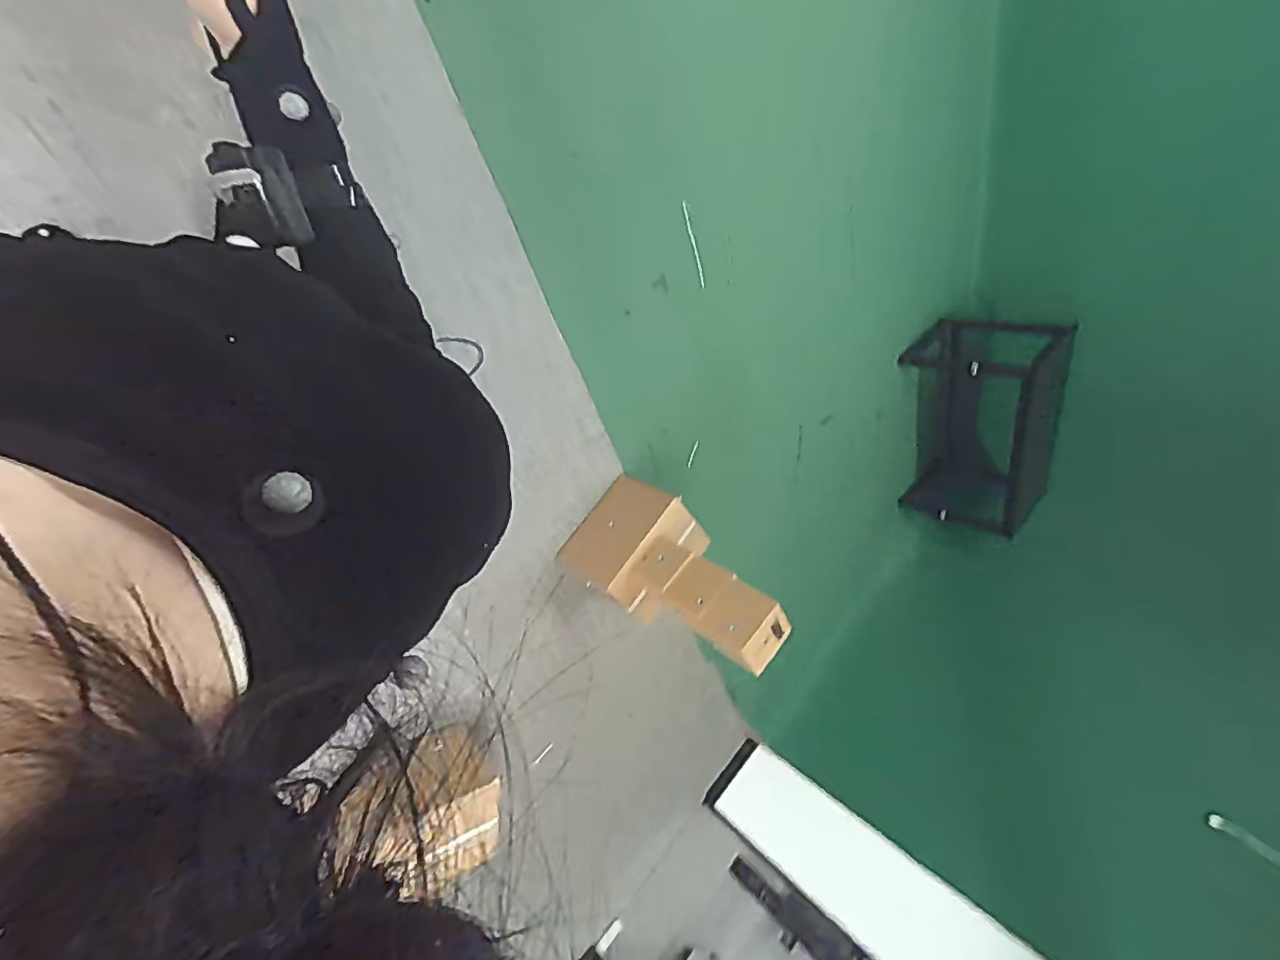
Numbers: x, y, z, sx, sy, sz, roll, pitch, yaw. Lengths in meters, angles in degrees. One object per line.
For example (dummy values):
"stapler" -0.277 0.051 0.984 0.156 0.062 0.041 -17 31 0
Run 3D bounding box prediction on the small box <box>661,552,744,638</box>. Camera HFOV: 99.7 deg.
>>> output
"small box" 0.198 0.358 1.717 0.179 0.176 0.168 -47 132 -18

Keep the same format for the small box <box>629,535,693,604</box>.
"small box" 0.092 0.306 1.827 0.168 0.176 0.179 -48 132 -18

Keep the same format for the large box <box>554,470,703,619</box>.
"large box" -0.040 0.236 2.026 0.408 0.320 0.320 -54 135 -15
